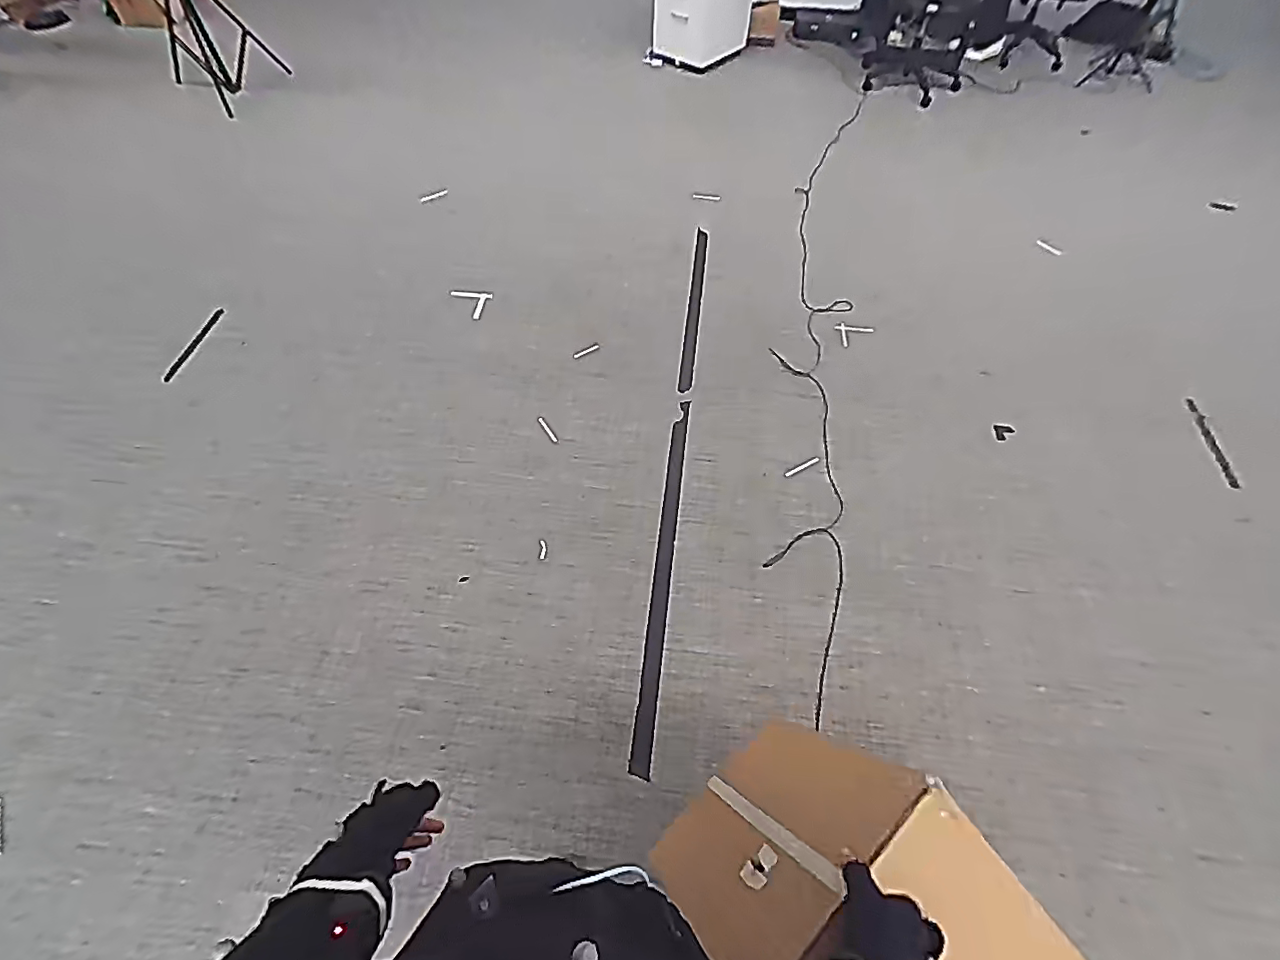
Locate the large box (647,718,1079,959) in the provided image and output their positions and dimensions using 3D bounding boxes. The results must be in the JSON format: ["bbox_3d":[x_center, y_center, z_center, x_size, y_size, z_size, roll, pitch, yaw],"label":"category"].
[{"bbox_3d":[0.265,0.586,0.735,0.320,0.408,0.320,-39,89,-20],"label":"large box"}]
